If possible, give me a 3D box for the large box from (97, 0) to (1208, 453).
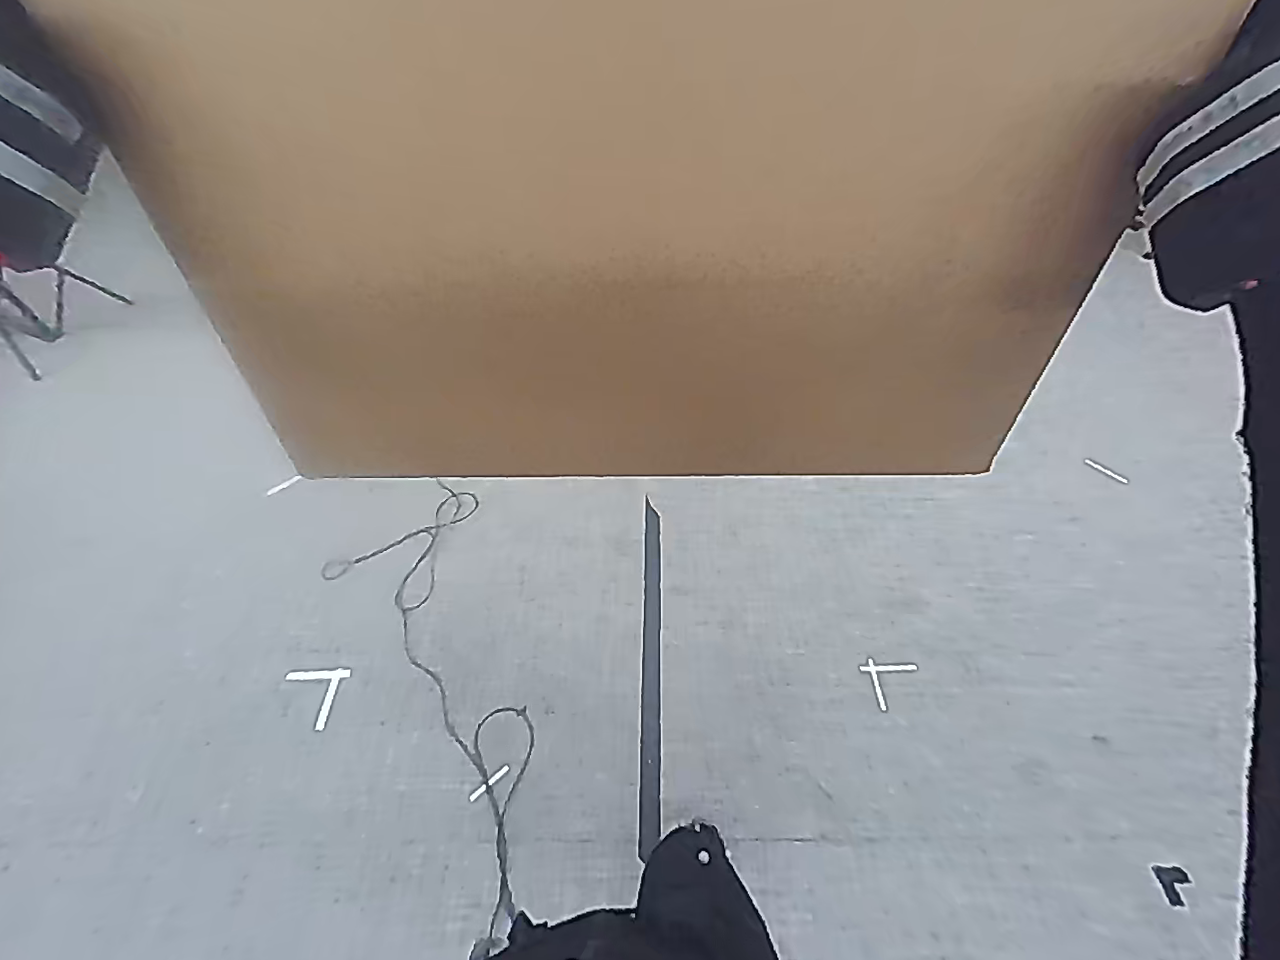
[{"bbox_3d":[0.003,-0.226,0.335,0.408,0.320,0.320,0,43,-1],"label":"large box"}]
